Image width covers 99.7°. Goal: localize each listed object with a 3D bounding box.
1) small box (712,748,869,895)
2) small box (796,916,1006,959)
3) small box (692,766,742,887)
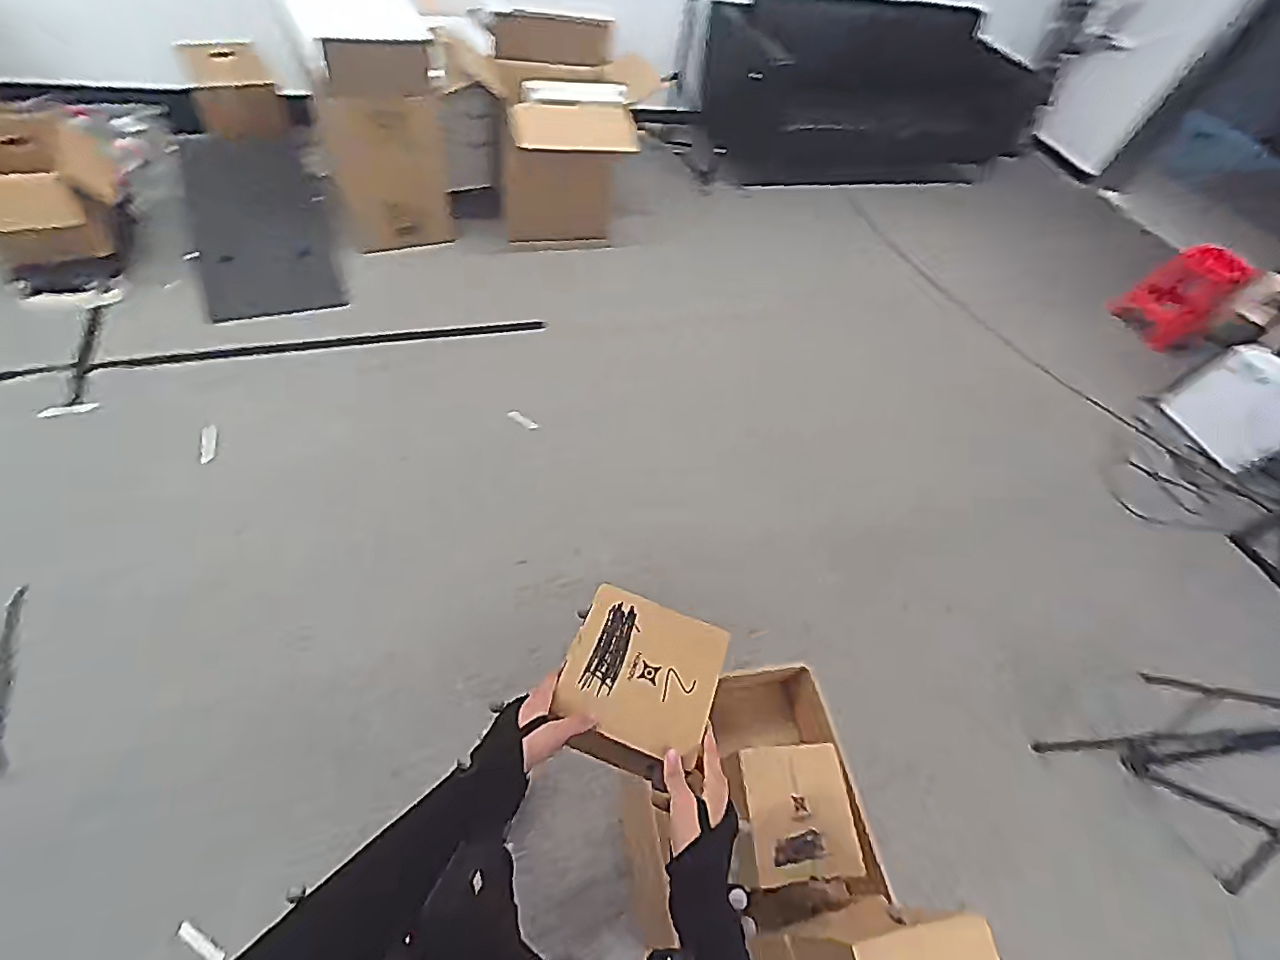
[{"bbox_3d":[0.222,0.530,0.849,0.168,0.176,0.179,3,56,-11],"label":"small box"},{"bbox_3d":[0.305,0.608,0.604,0.179,0.176,0.168,0,53,-14],"label":"small box"},{"bbox_3d":[0.206,0.616,0.988,0.168,0.176,0.179,-2,57,-14],"label":"small box"}]
